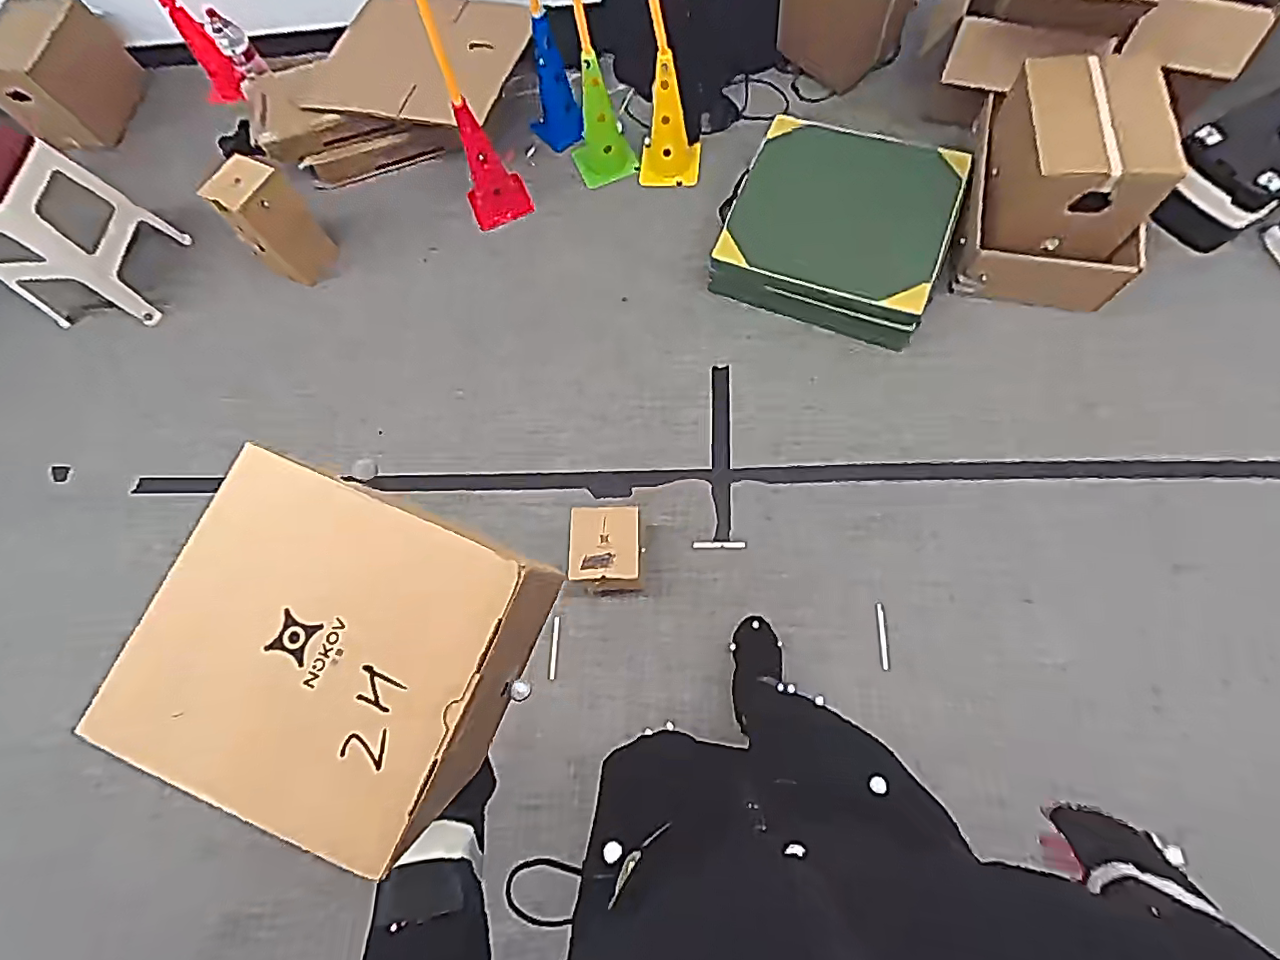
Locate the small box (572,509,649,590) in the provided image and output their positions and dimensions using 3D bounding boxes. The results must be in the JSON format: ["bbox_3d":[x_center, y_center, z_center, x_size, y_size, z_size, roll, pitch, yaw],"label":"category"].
[{"bbox_3d":[-0.067,0.179,1.350,0.168,0.176,0.179,-2,69,6],"label":"small box"}]

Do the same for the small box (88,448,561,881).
[{"bbox_3d":[-0.171,0.104,0.362,0.179,0.176,0.168,27,80,3],"label":"small box"}]
